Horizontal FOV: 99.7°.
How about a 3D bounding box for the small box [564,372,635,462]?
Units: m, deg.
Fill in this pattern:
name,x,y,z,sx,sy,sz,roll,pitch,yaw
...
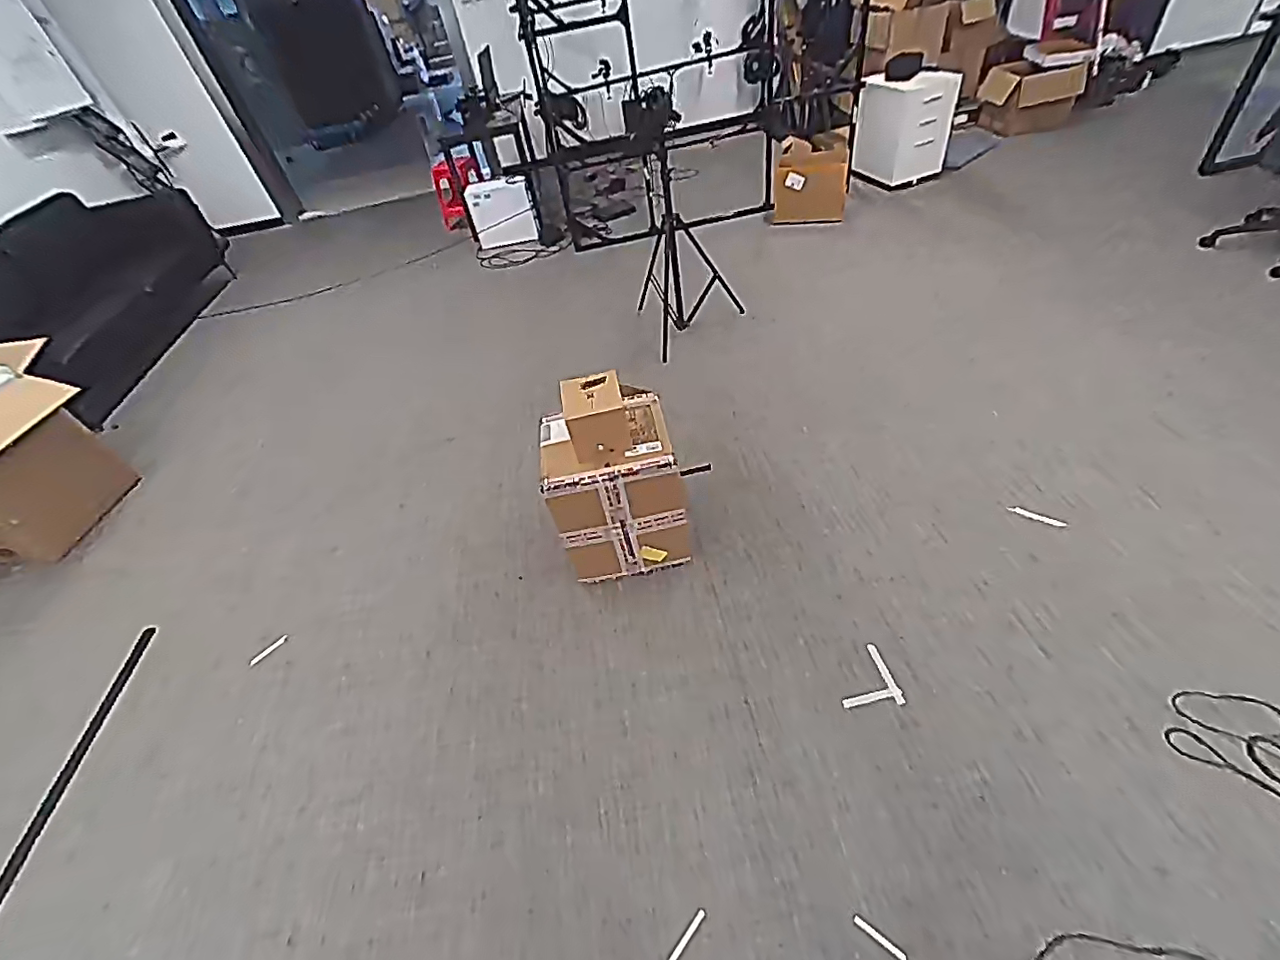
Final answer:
name,x,y,z,sx,sy,sz,roll,pitch,yaw
small box,-0.116,-0.179,1.556,0.168,0.176,0.179,-13,48,0
